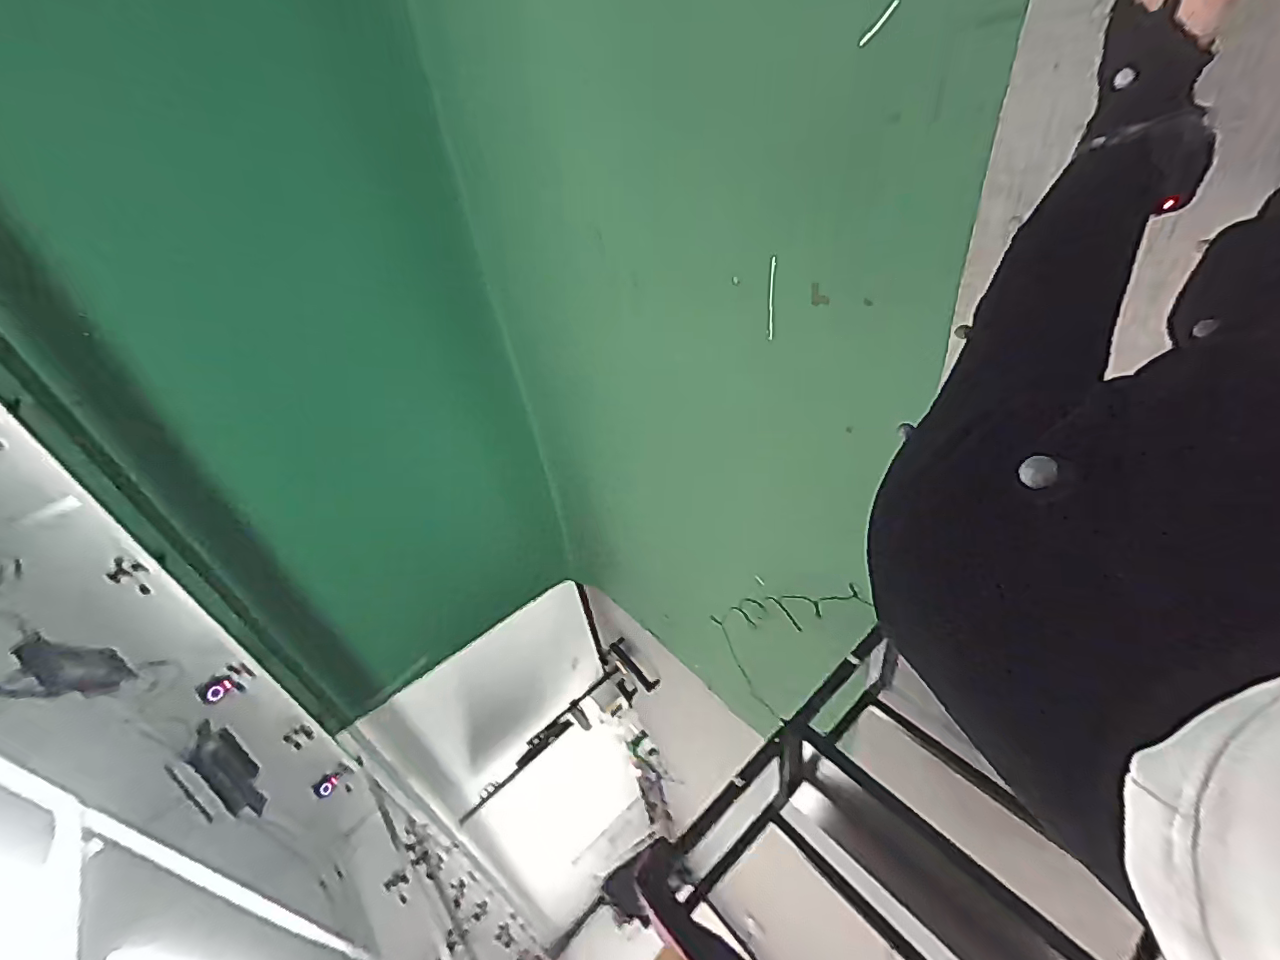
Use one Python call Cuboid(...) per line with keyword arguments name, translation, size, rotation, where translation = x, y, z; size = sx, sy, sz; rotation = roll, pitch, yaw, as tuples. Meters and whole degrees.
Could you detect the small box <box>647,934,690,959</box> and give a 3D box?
Cuboid(name="small box", translation=(0.090, 1.514, 1.611), size=(0.168, 0.176, 0.179), rotation=(33, 145, 38))
